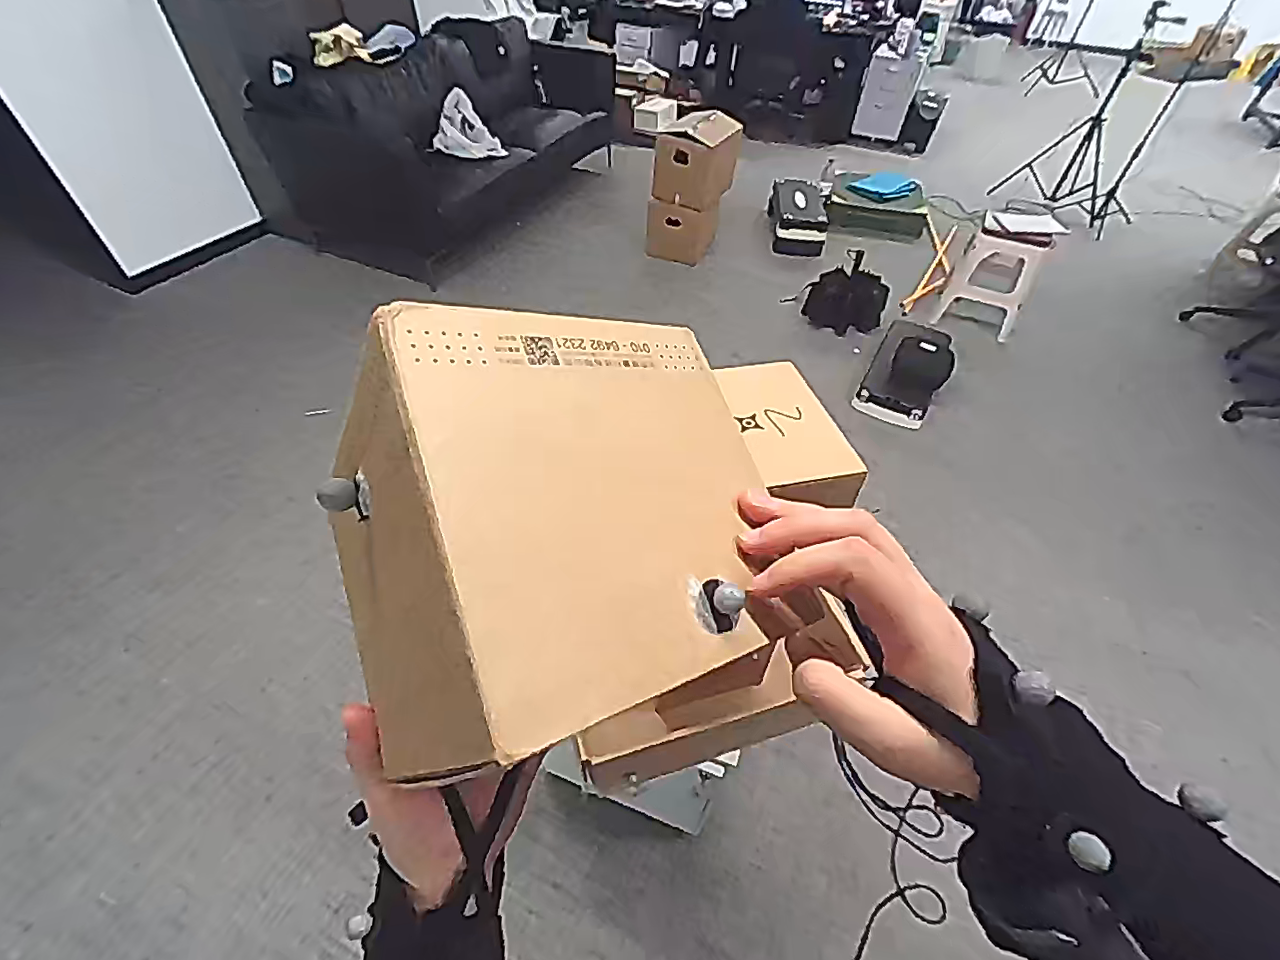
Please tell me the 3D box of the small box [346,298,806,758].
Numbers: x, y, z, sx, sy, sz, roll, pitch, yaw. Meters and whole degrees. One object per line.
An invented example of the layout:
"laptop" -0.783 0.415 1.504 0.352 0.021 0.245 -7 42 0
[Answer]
"small box" -0.051 0.030 0.299 0.168 0.179 0.176 -8 68 -38

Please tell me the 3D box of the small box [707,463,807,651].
"small box" 0.083 0.106 0.695 0.179 0.176 0.168 -12 48 -10
